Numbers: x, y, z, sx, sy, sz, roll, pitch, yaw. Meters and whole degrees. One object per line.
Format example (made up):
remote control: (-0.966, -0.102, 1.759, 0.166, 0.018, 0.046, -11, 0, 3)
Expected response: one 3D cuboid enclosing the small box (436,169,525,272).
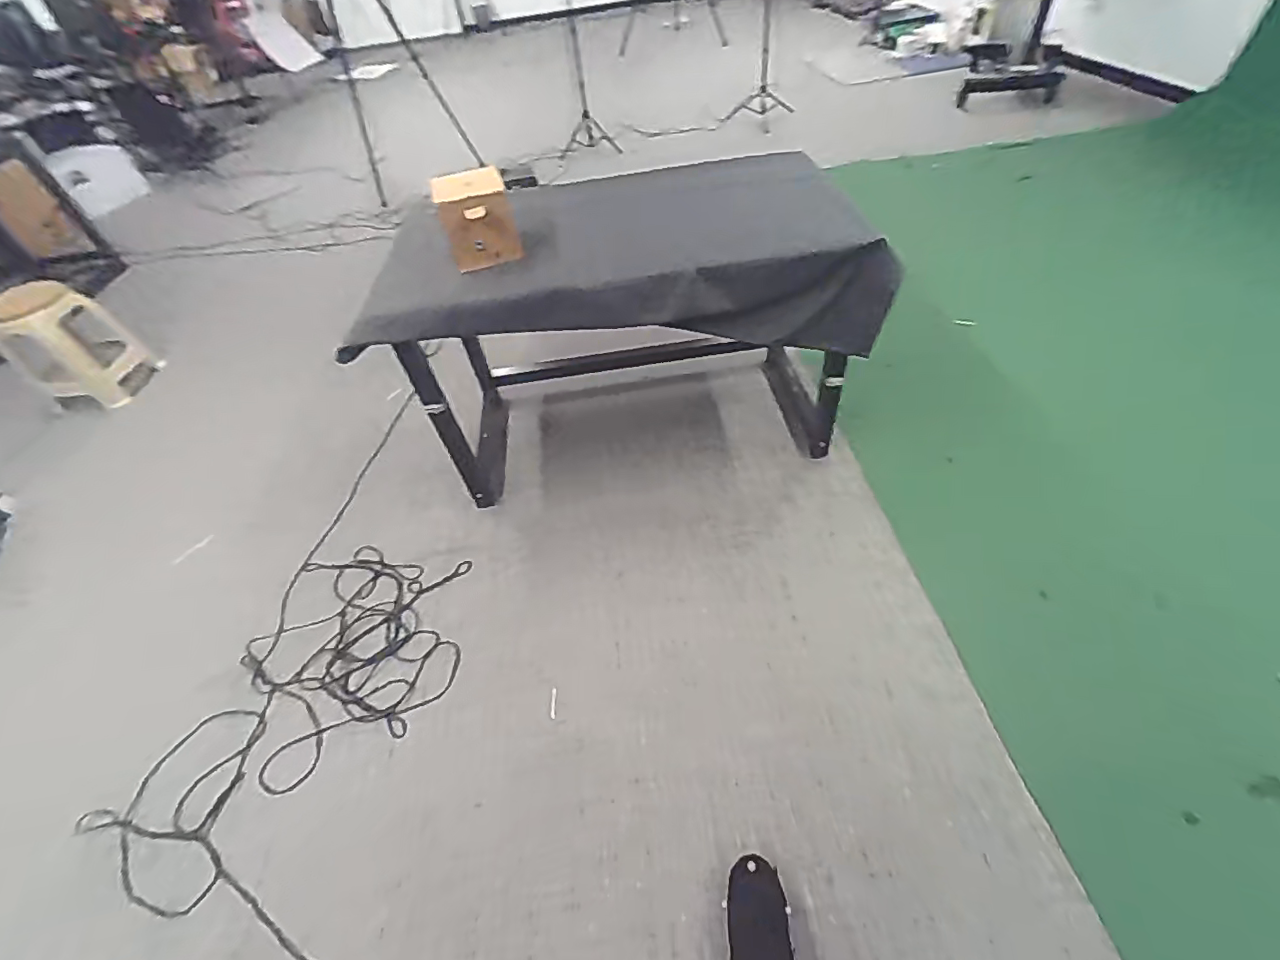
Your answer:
small box: (-0.395, -0.643, 1.343, 0.168, 0.176, 0.179, -16, 49, -8)
